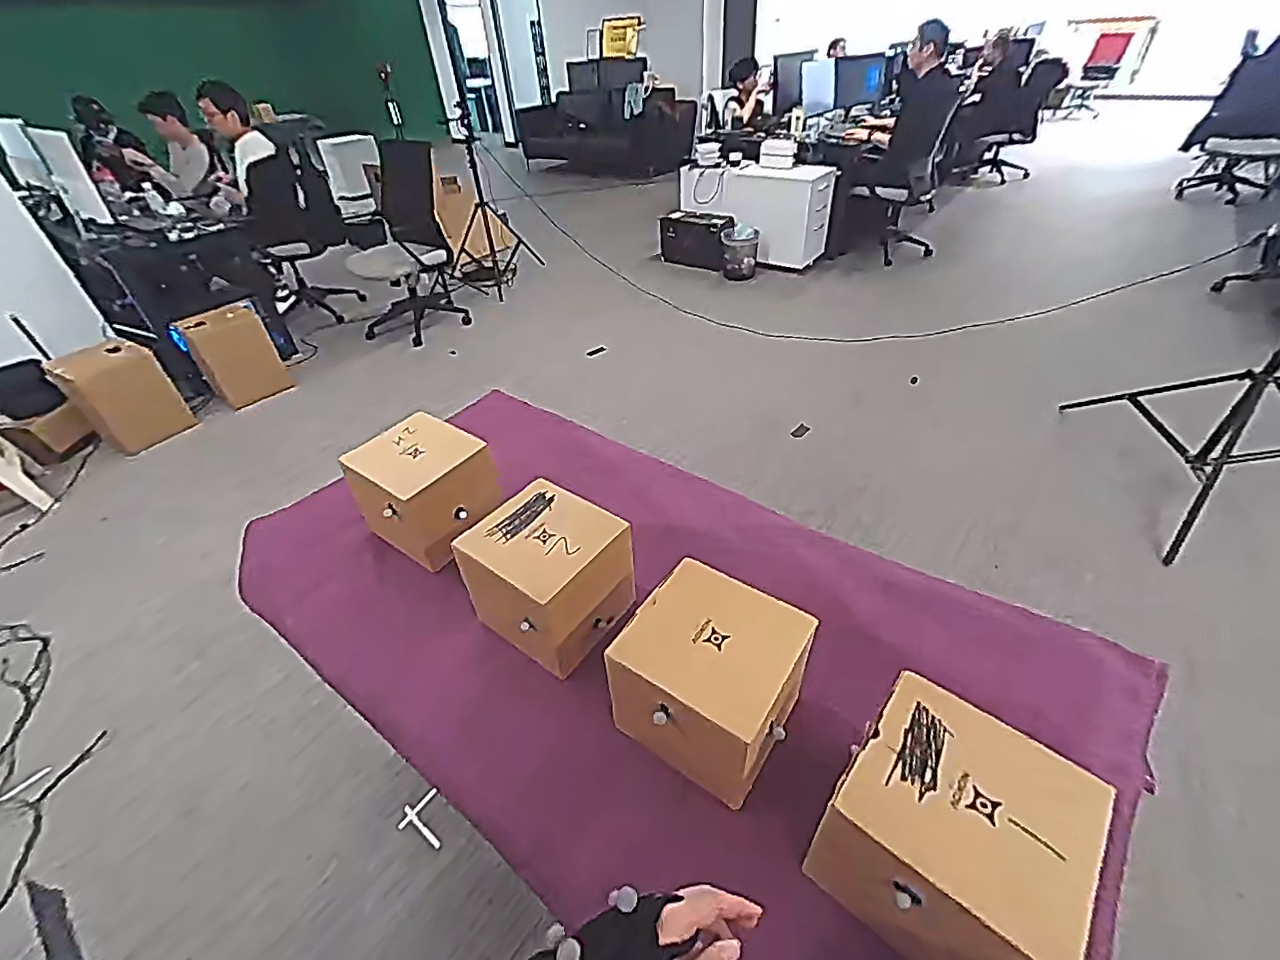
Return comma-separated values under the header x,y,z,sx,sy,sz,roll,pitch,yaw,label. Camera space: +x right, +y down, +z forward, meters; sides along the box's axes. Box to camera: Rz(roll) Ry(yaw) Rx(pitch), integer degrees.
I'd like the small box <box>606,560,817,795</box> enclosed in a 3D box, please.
x,y,z,sx,sy,sz,roll,pitch,yaw,label
0.084,0.234,0.638,0.179,0.176,0.168,22,46,29,small box

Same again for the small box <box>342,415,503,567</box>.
x,y,z,sx,sy,sz,roll,pitch,yaw,label
-0.360,0.021,0.925,0.179,0.176,0.168,24,47,27,small box

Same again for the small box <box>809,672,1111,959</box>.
x,y,z,sx,sy,sz,roll,pitch,yaw,label
0.278,0.326,0.501,0.179,0.176,0.168,28,48,32,small box
